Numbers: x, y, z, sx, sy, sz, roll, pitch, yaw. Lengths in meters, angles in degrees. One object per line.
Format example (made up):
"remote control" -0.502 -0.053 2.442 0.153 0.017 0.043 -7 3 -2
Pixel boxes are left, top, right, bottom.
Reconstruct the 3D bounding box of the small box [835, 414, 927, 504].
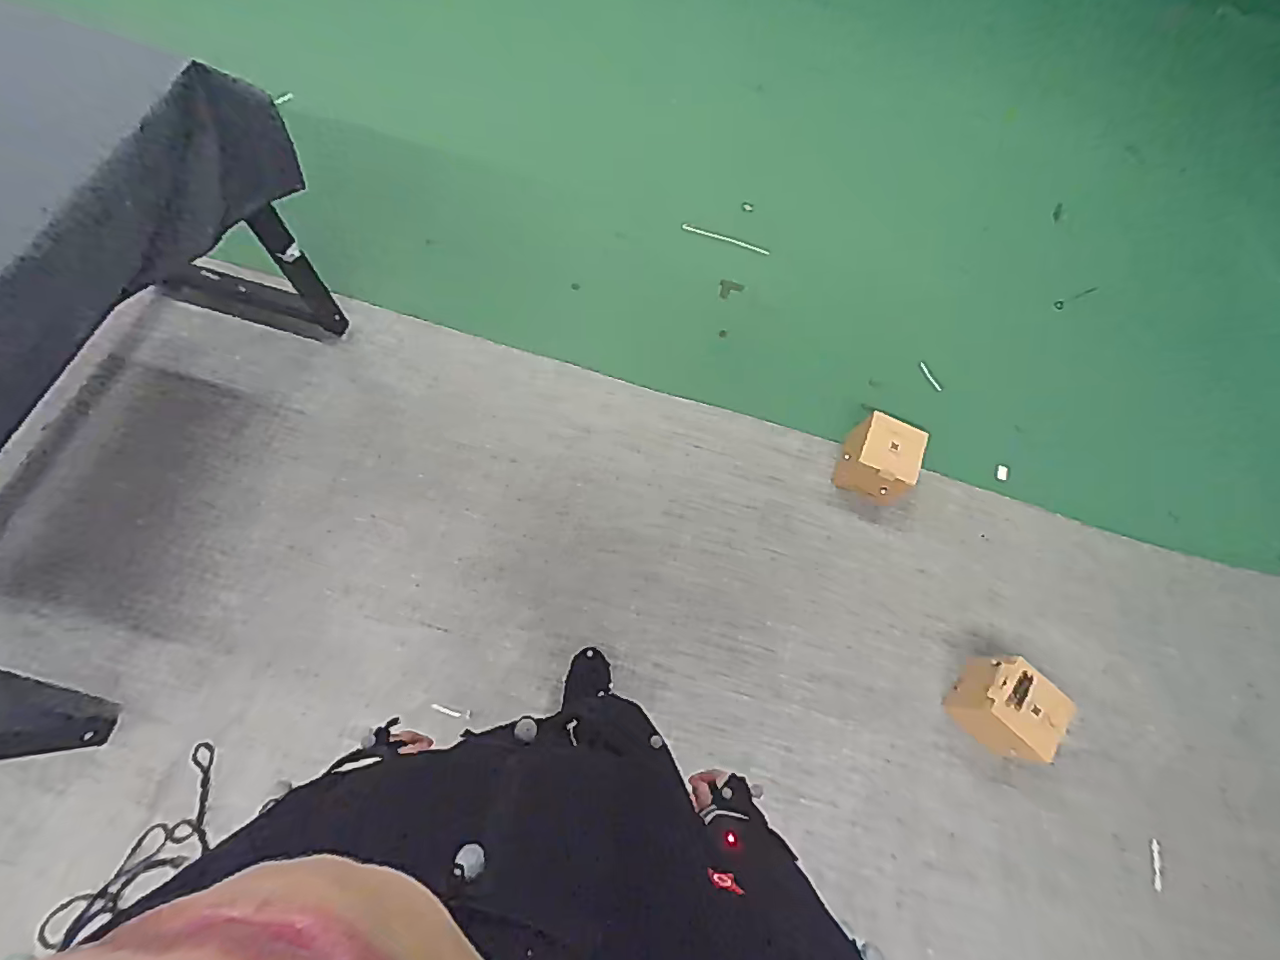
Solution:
"small box" 0.684 -0.053 1.551 0.168 0.176 0.179 24 68 1
